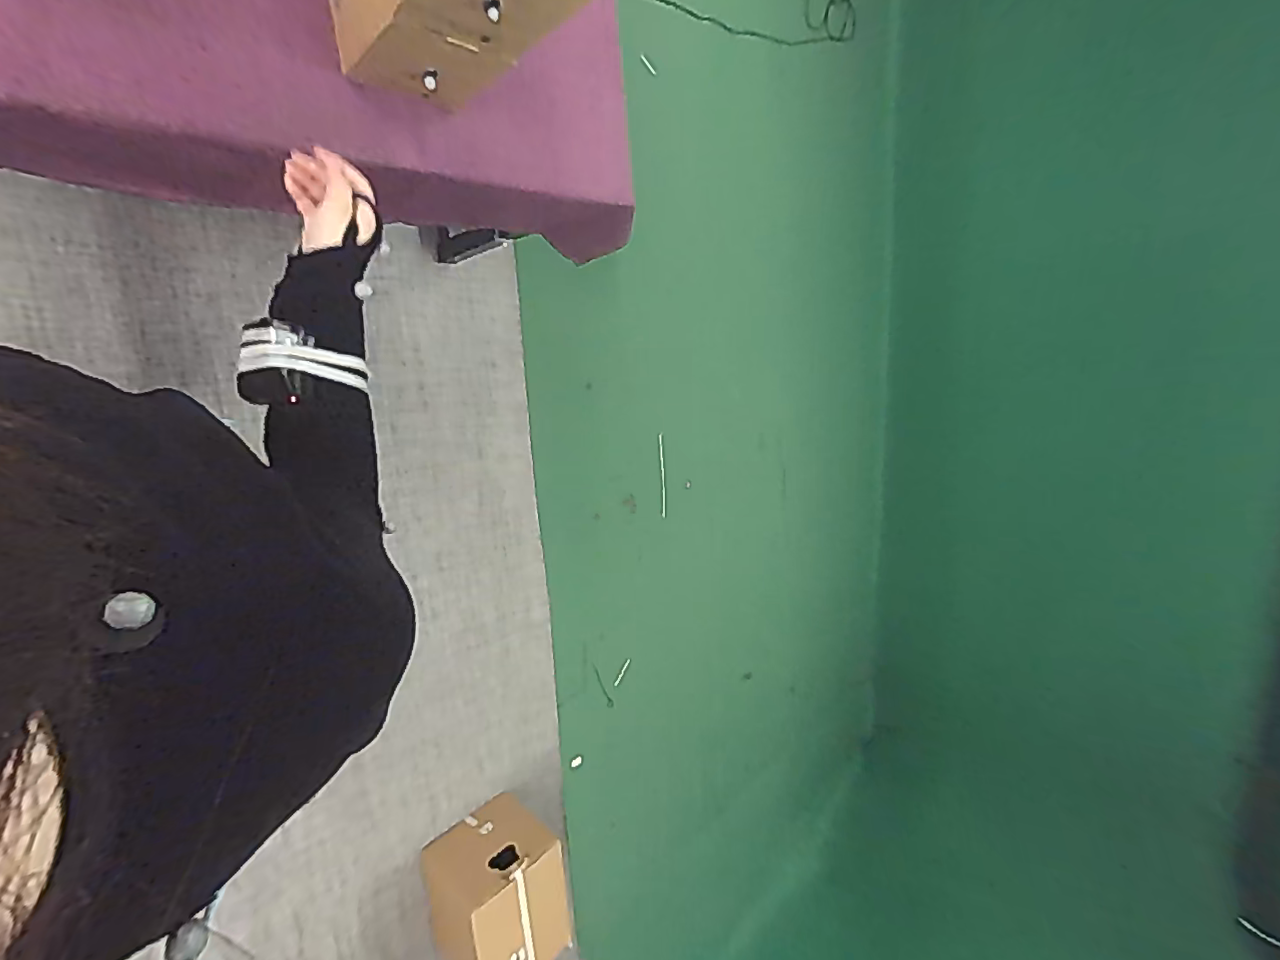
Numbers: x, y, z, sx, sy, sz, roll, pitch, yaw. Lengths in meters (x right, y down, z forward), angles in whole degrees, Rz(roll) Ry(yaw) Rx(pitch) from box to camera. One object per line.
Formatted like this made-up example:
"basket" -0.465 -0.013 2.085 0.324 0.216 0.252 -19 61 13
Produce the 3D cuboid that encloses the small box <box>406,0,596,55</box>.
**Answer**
"small box" -0.161 -0.601 0.573 0.168 0.176 0.179 -17 108 -44

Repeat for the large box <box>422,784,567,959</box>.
"large box" -0.466 1.302 1.746 0.320 0.320 0.408 -16 109 -44

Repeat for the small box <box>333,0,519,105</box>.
"small box" -0.278 -0.618 0.689 0.168 0.176 0.179 -17 108 -44
